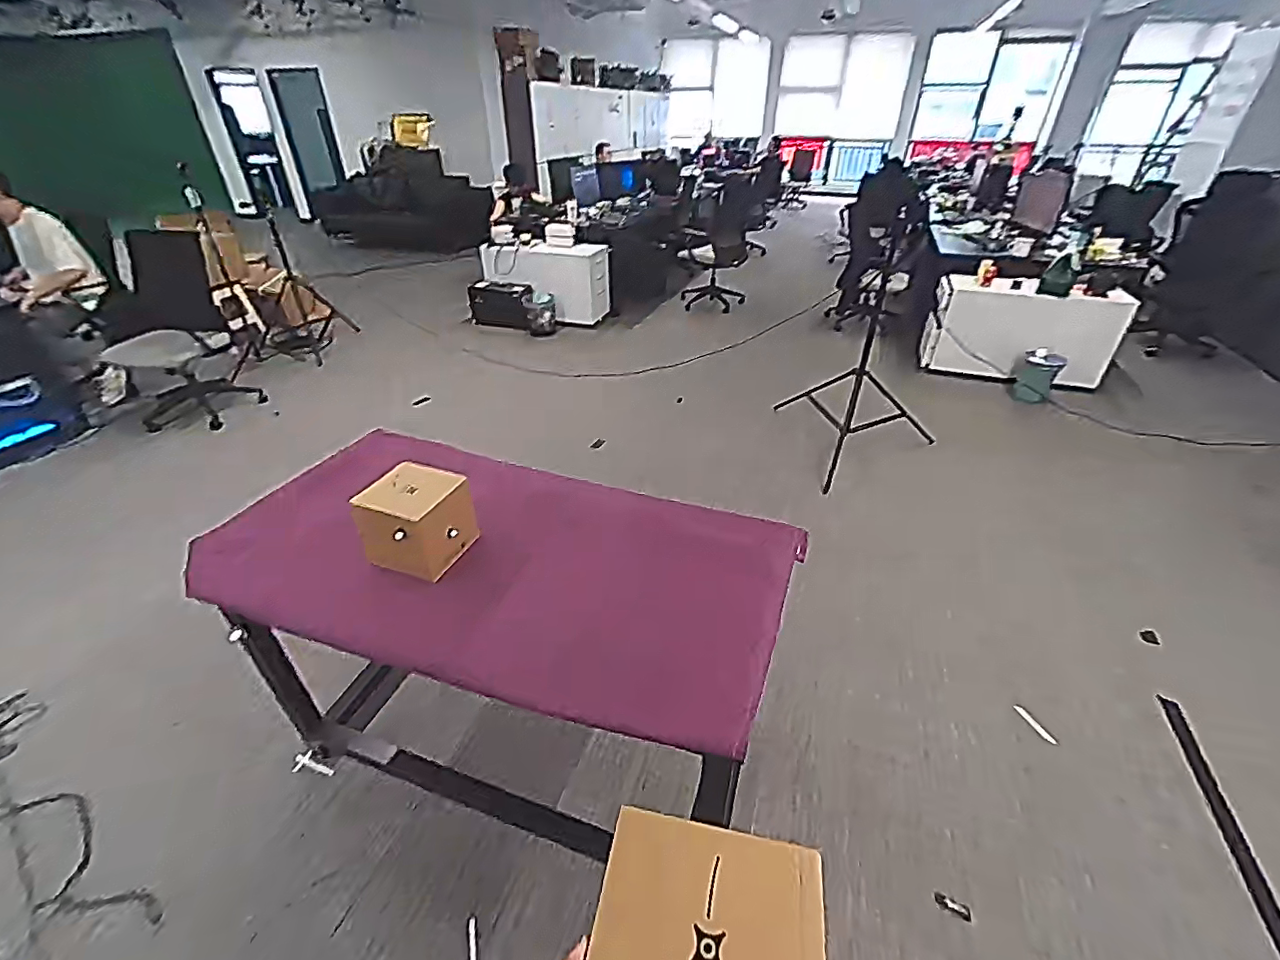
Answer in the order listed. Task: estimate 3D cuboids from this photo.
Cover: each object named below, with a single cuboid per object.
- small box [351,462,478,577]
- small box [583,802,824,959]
[{"bbox_3d":[-0.476,0.087,1.170,0.179,0.176,0.168,12,36,17],"label":"small box"},{"bbox_3d":[0.047,0.395,0.422,0.168,0.176,0.179,6,38,11],"label":"small box"}]
